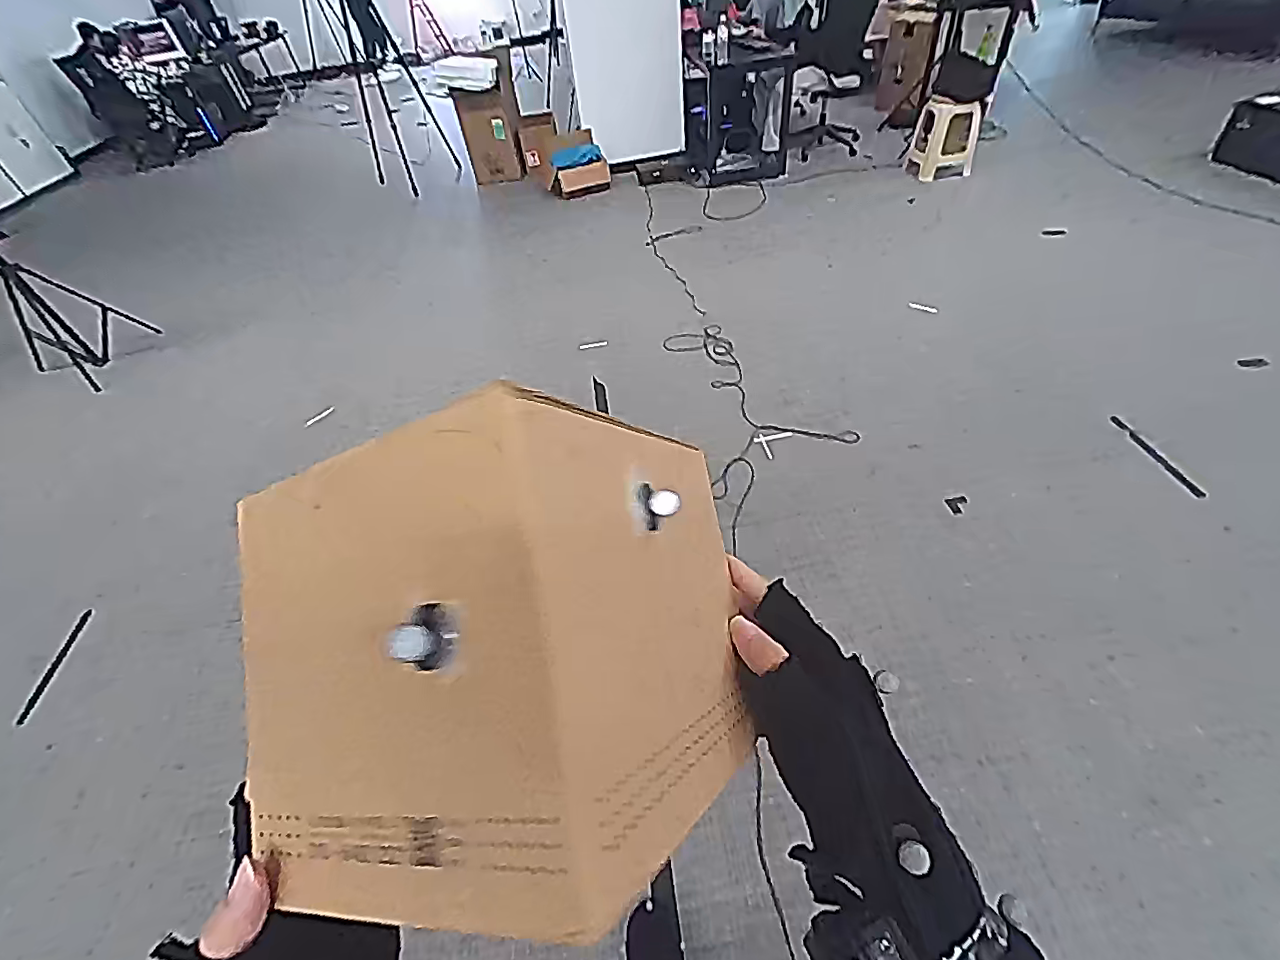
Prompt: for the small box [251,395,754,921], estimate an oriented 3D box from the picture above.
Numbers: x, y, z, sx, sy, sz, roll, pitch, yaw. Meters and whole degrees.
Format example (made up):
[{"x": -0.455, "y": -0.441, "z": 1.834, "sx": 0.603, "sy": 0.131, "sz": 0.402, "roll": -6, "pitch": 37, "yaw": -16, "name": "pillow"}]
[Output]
[{"x": -0.053, "y": 0.078, "z": 0.273, "sx": 0.168, "sy": 0.179, "sz": 0.176, "roll": -15, "pitch": 78, "yaw": 24, "name": "small box"}]
